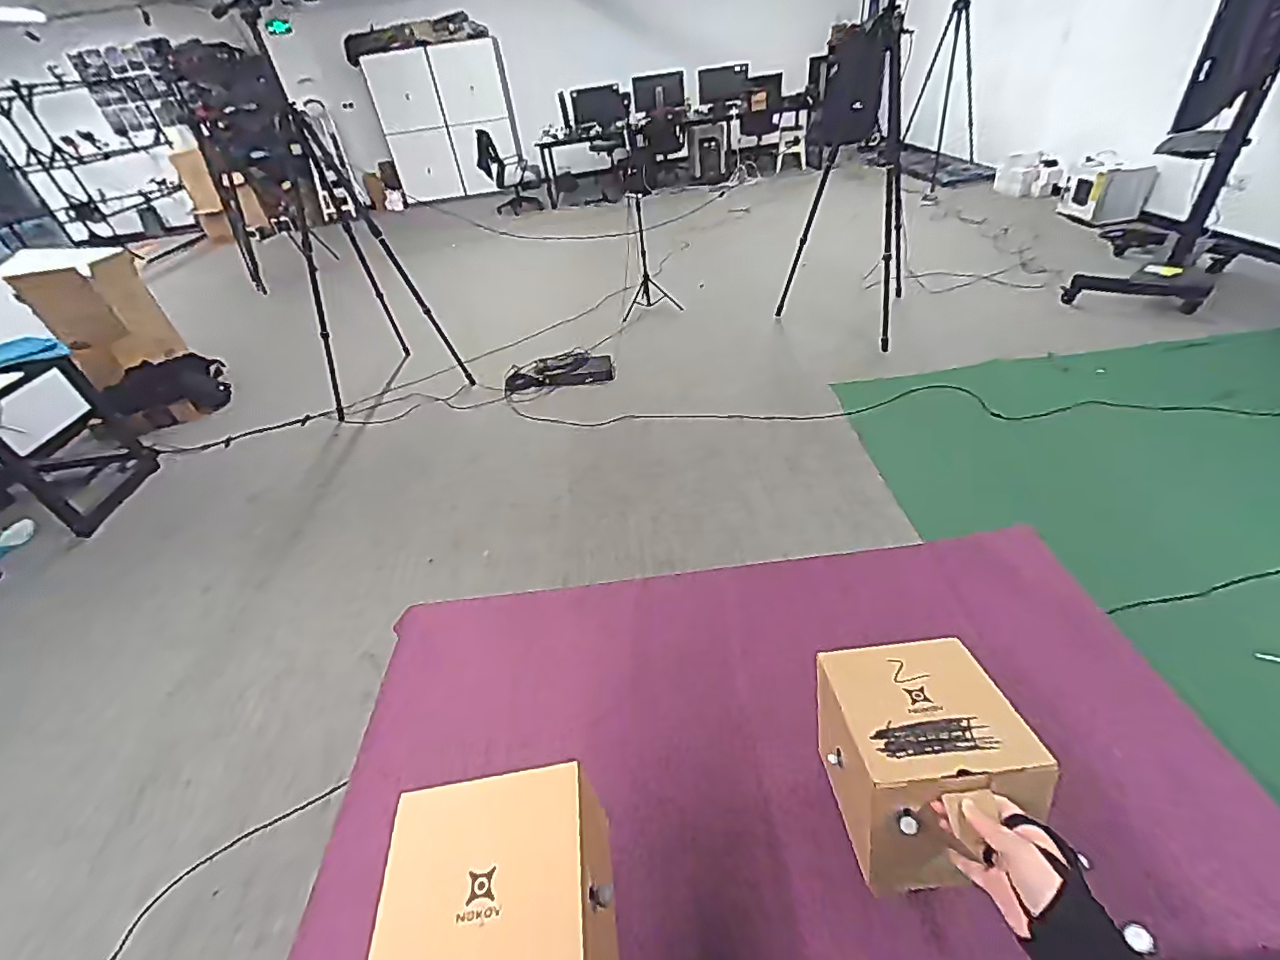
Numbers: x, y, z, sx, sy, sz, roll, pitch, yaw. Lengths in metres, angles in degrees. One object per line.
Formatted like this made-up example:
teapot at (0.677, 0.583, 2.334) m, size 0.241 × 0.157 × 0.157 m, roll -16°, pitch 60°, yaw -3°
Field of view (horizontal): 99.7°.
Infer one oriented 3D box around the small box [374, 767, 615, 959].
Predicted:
small box at (-0.117, 0.397, 0.492) m, size 0.168 × 0.176 × 0.179 m, roll -10°, pitch 41°, yaw 0°
